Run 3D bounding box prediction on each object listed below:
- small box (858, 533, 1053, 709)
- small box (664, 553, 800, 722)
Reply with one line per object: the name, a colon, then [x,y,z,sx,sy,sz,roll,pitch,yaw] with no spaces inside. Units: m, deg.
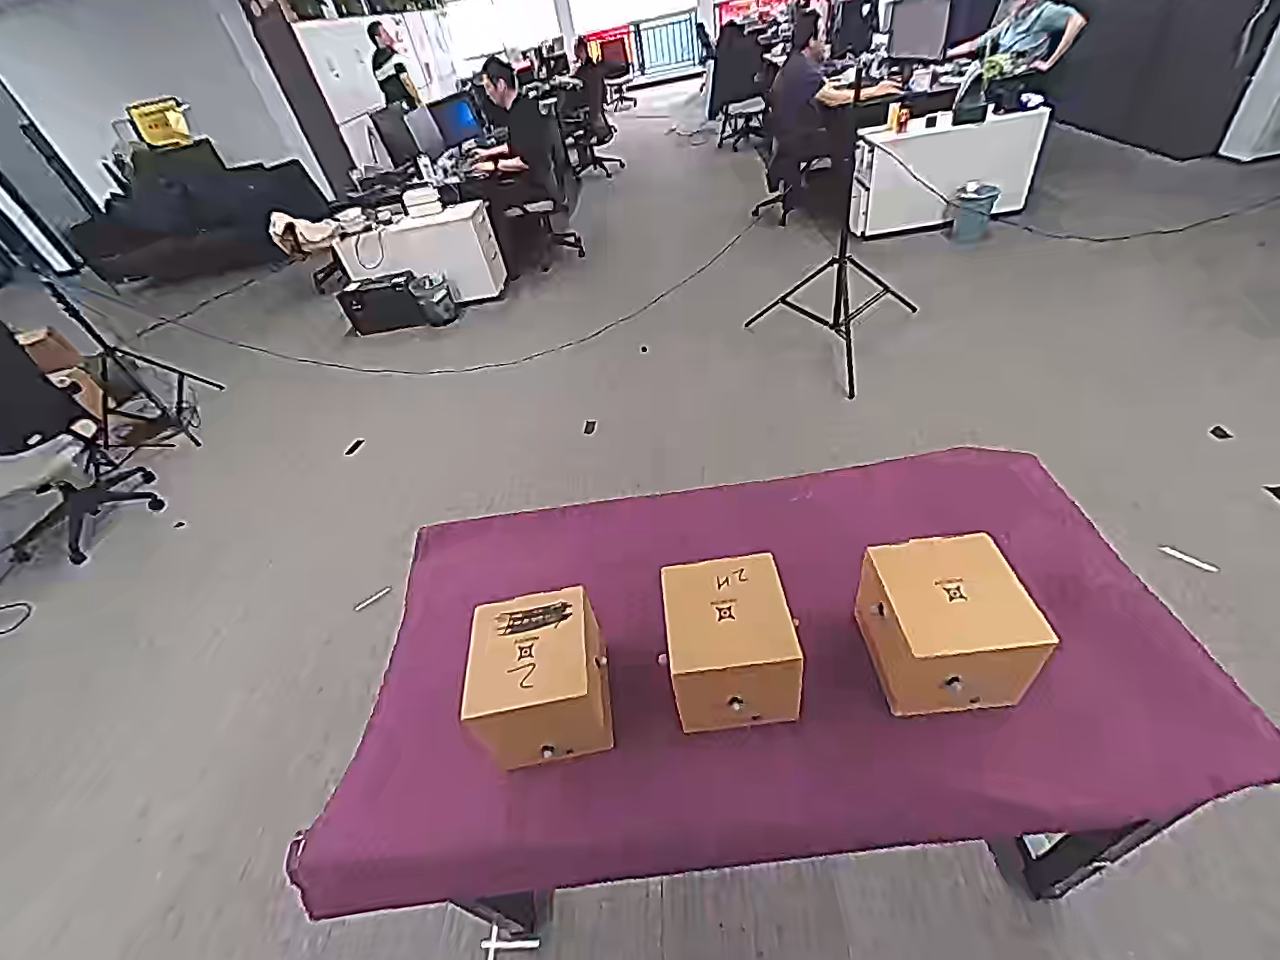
small box: [0.418,0.202,0.754,0.168,0.176,0.179,-8,41,5]
small box: [0.130,0.234,0.786,0.168,0.176,0.179,-8,40,4]
